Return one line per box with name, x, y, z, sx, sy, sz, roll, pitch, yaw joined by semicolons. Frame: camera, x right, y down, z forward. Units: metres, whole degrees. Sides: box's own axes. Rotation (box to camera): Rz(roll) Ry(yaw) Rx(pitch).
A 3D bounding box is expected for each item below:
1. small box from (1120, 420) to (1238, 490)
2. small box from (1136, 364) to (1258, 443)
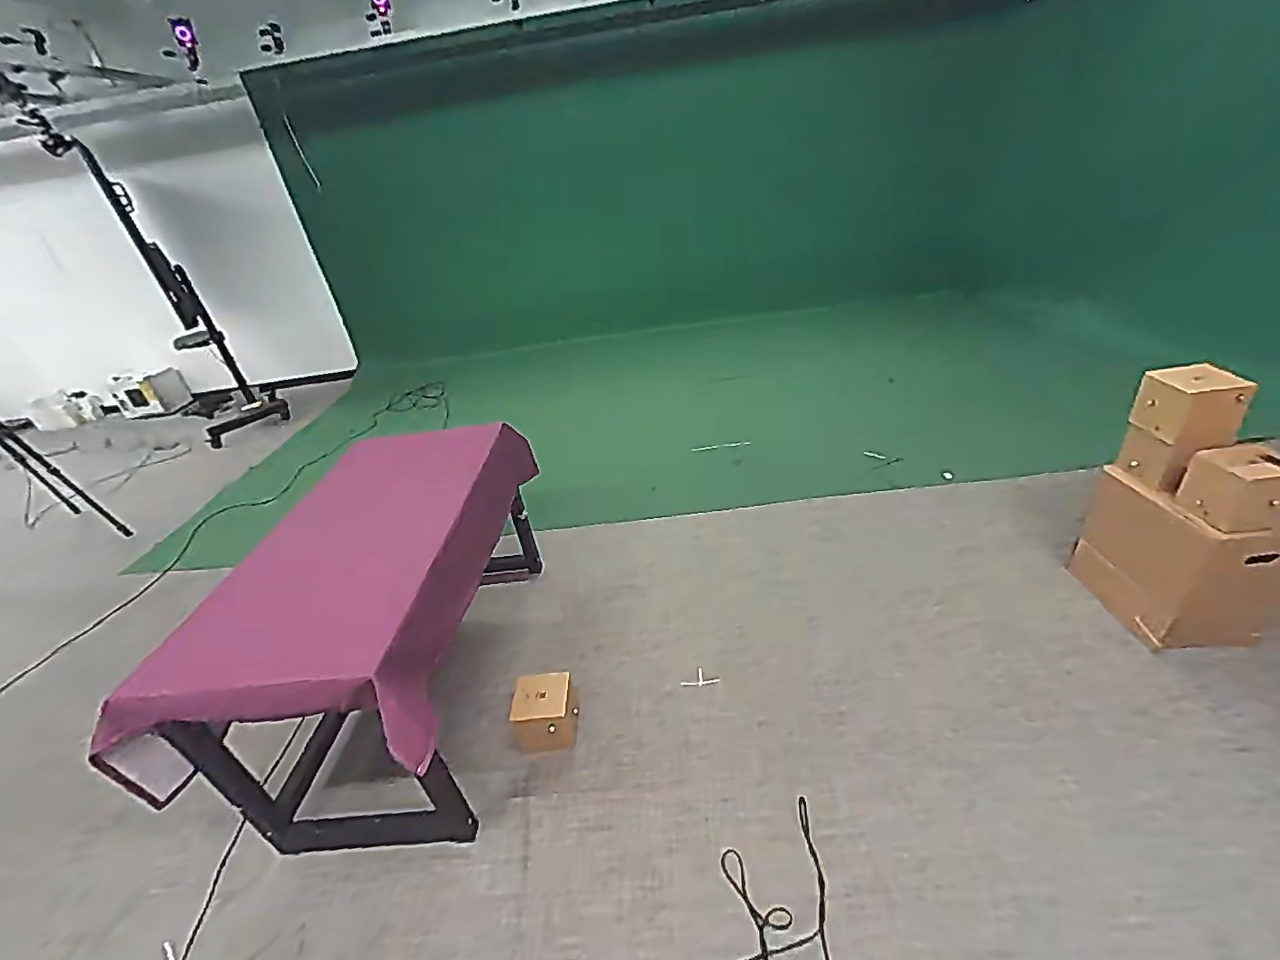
small box;1.655;-0.088;1.674;0.179;0.176;0.168;-8;33;6
small box;1.619;-0.222;1.590;0.179;0.176;0.168;-7;33;4
